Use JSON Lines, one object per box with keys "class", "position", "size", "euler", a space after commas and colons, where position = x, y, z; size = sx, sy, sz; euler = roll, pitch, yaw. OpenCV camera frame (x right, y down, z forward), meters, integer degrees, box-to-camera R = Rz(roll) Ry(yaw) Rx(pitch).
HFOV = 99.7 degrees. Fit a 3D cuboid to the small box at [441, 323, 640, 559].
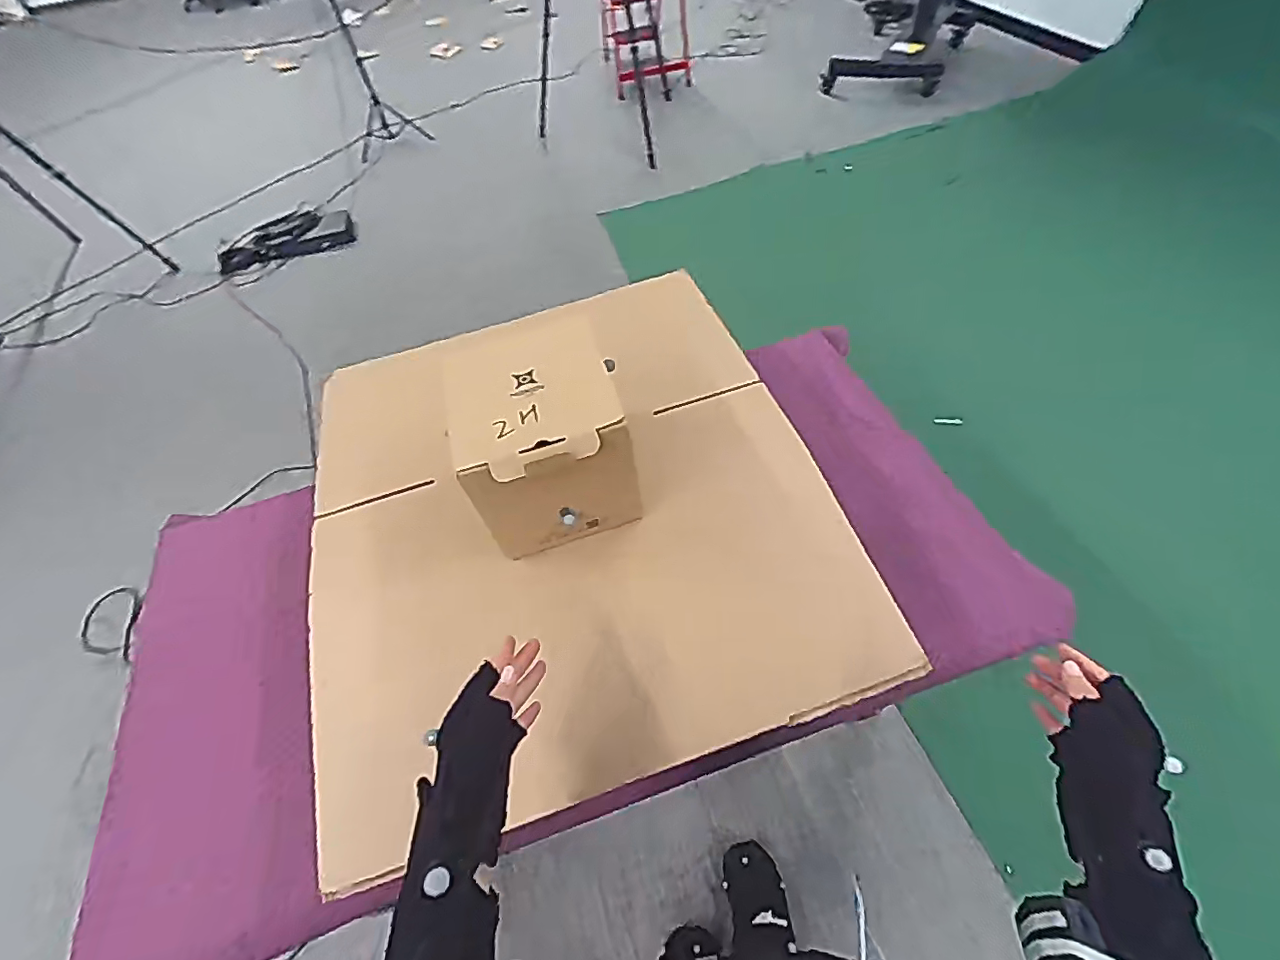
{"class": "small box", "position": [-0.107, -0.040, 0.609], "size": [0.168, 0.176, 0.179], "euler": [-18, 55, -5]}
